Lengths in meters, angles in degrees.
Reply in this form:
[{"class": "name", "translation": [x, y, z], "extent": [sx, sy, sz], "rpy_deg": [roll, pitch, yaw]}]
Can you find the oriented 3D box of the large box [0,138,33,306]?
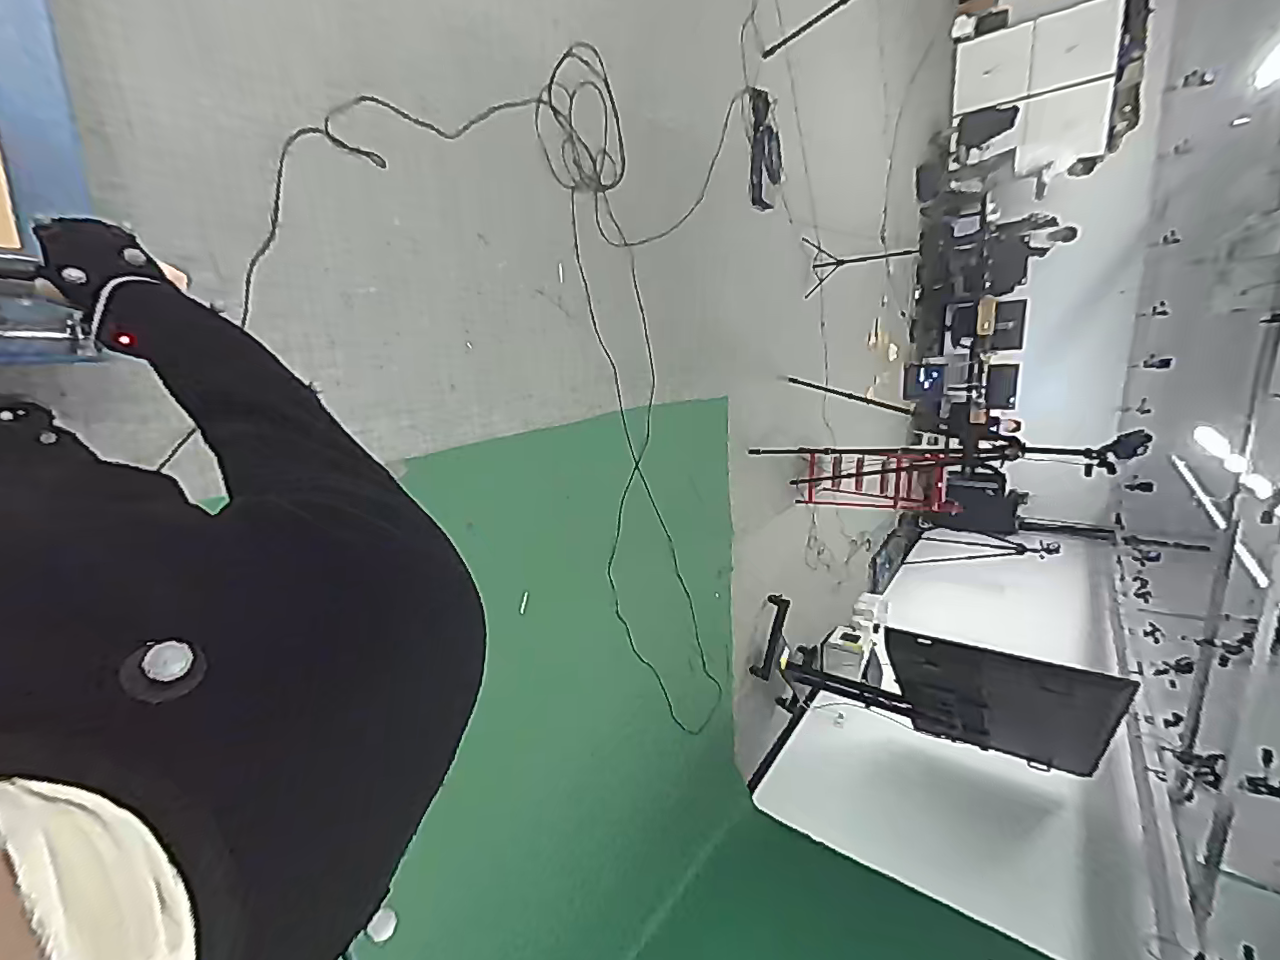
[{"class": "large box", "translation": [-1.082, -0.460, 0.706], "extent": [0.320, 0.320, 0.408], "rpy_deg": [-15, 106, -51]}]
